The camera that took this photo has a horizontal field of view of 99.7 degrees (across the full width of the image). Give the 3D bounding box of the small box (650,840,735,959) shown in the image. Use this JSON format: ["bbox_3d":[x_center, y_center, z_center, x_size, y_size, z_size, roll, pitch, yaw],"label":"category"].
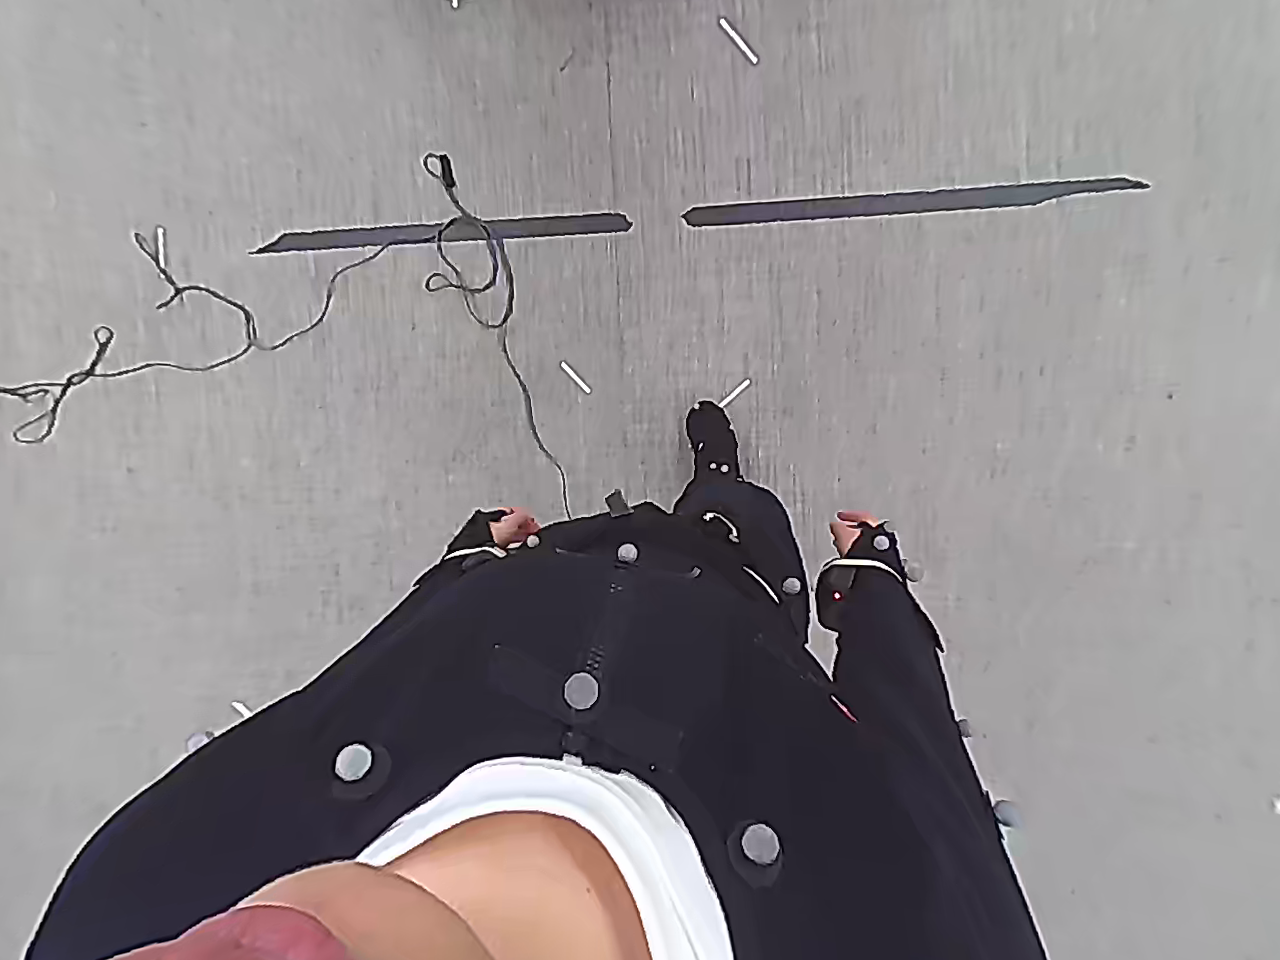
[{"bbox_3d":[0.108,0.888,1.114,0.168,0.176,0.179,-1,91,5],"label":"small box"}]

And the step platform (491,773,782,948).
[{"bbox_3d":[-0.009,0.906,1.301,0.684,0.204,0.286,-2,92,5],"label":"step platform"}]

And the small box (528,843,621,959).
[{"bbox_3d":[-0.131,0.911,1.139,0.168,0.176,0.179,1,90,5],"label":"small box"}]
